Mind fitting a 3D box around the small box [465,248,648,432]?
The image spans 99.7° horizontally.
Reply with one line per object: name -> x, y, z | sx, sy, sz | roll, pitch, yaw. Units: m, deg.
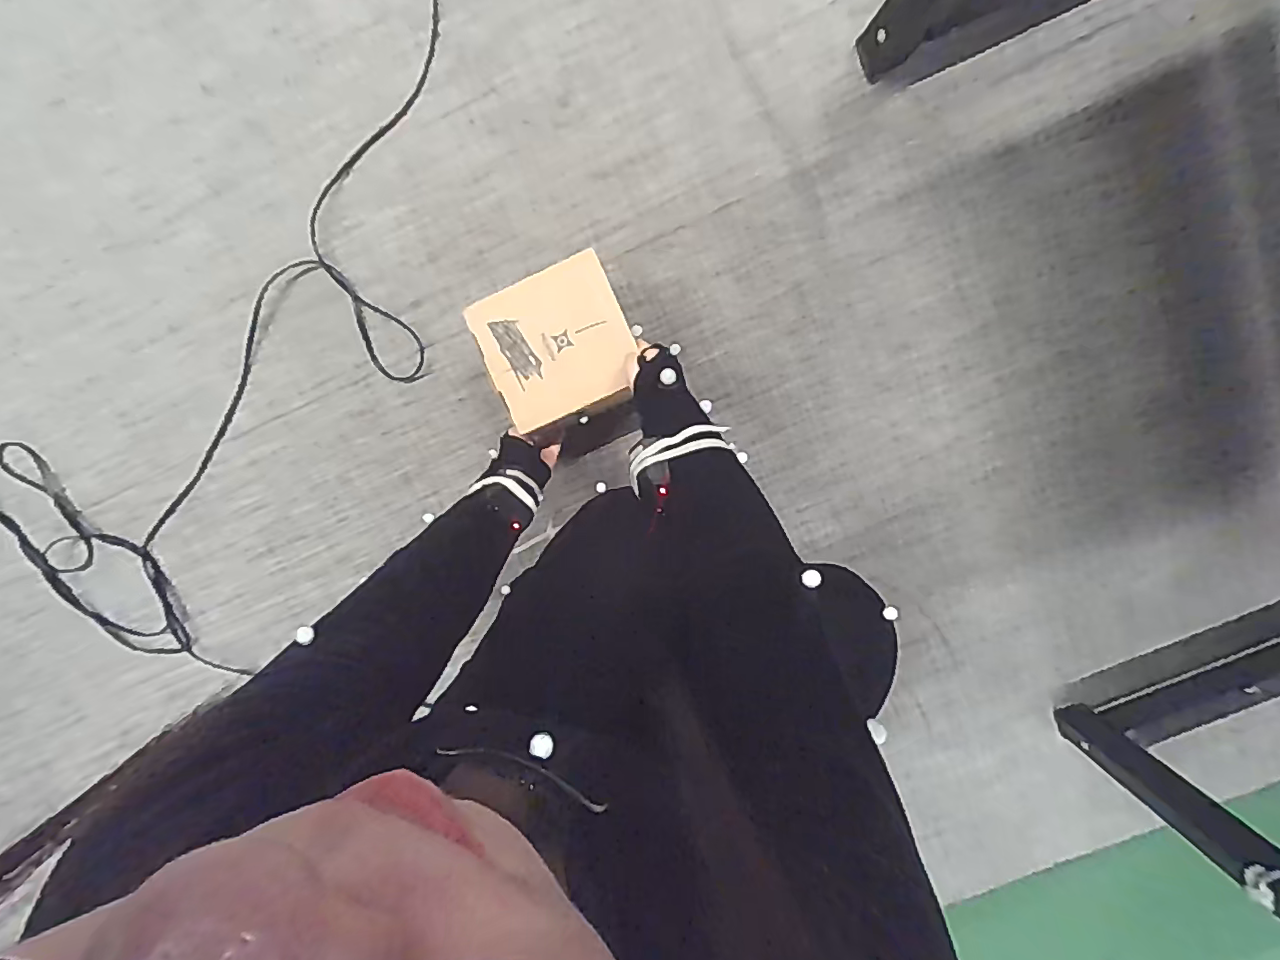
small box -> -0.096, -0.172, 0.721 | 0.179, 0.176, 0.168 | -25, 96, 4
